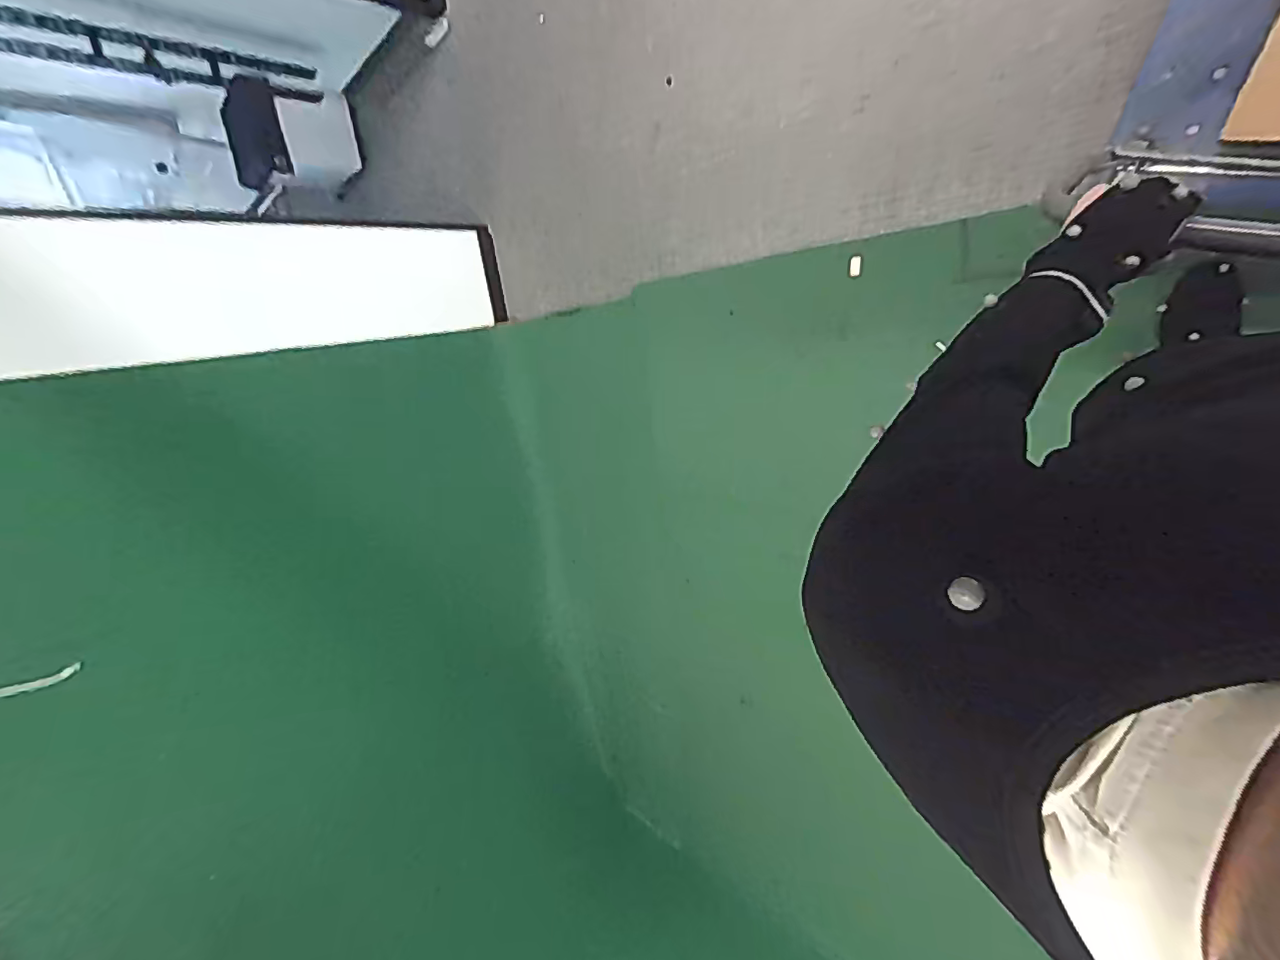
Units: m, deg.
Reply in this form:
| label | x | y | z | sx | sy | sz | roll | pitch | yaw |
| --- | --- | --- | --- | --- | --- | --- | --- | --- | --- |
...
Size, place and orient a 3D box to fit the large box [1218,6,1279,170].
| label | x | y | z | sx | sy | sz | roll | pitch | yaw |
| --- | --- | --- | --- | --- | --- | --- | --- | --- | --- |
| large box | 1.019 | -0.618 | 0.662 | 0.320 | 0.320 | 0.408 | 27 | 126 | 36 |
